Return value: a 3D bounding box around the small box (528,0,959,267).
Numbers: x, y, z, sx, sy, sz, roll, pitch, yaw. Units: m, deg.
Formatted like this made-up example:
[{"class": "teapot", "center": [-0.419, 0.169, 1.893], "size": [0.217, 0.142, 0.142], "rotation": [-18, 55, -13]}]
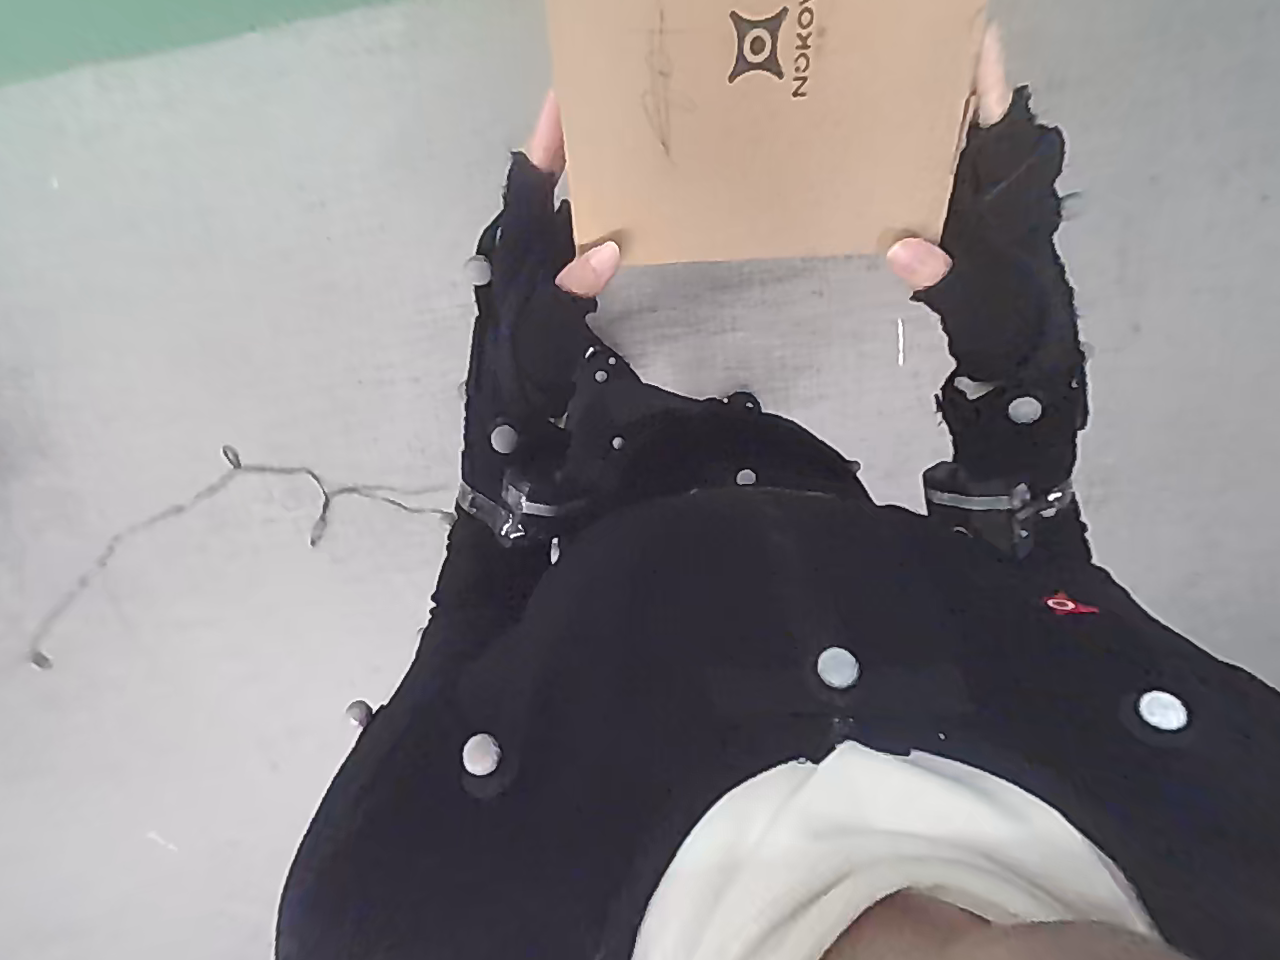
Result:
[{"class": "small box", "center": [0.045, -0.224, 0.293], "size": [0.179, 0.176, 0.168], "rotation": [-4, 121, 6]}]
